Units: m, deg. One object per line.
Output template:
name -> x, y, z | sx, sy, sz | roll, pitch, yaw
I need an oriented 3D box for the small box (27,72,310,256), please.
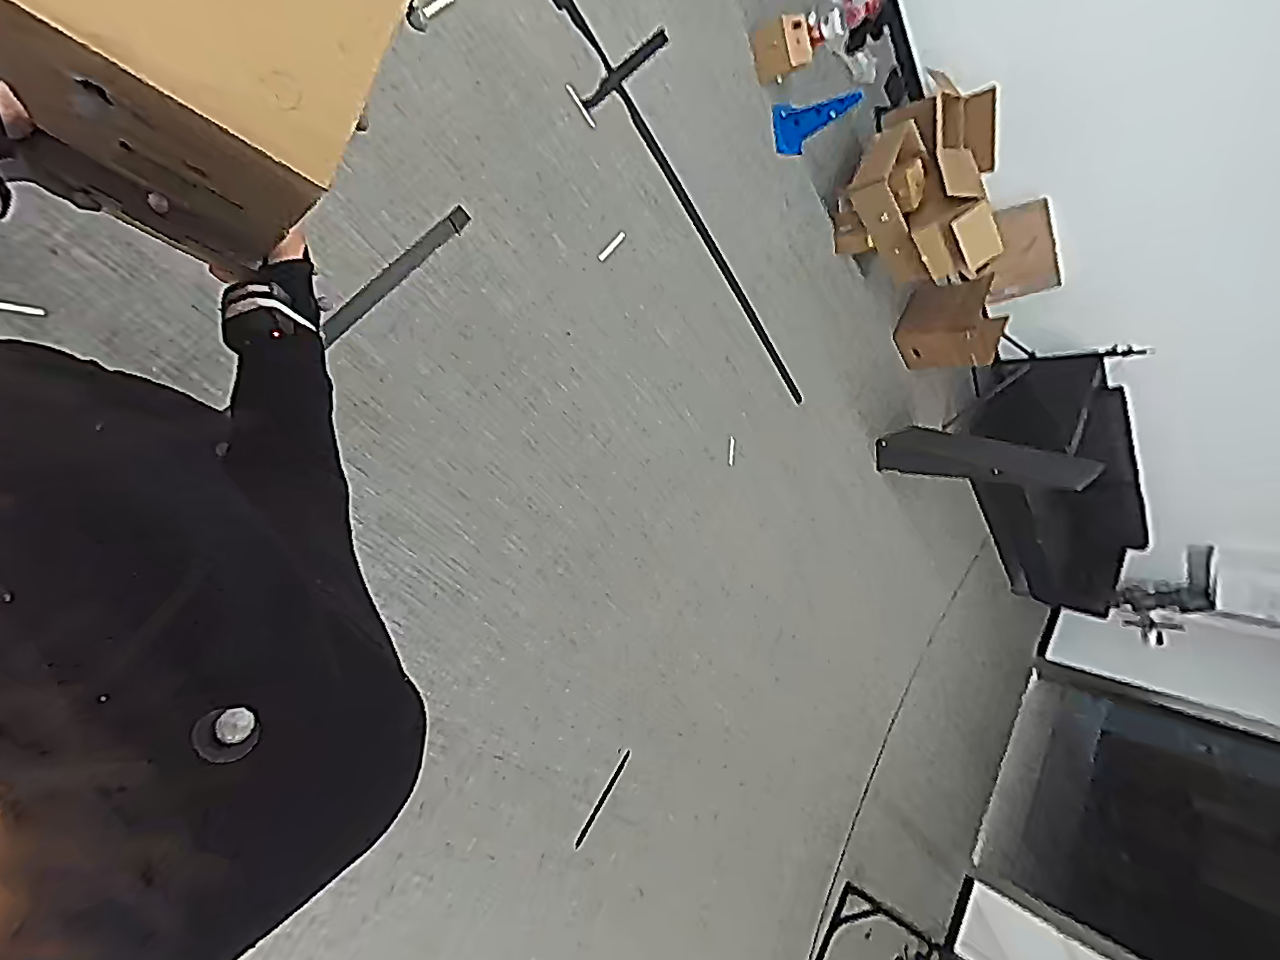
small box -> -0.341, -0.314, 0.449 | 0.168, 0.176, 0.179 | 27, 84, -40

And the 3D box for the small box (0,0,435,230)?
small box -> -0.243, -0.279, 0.324 | 0.168, 0.176, 0.179 | 23, 86, -41
